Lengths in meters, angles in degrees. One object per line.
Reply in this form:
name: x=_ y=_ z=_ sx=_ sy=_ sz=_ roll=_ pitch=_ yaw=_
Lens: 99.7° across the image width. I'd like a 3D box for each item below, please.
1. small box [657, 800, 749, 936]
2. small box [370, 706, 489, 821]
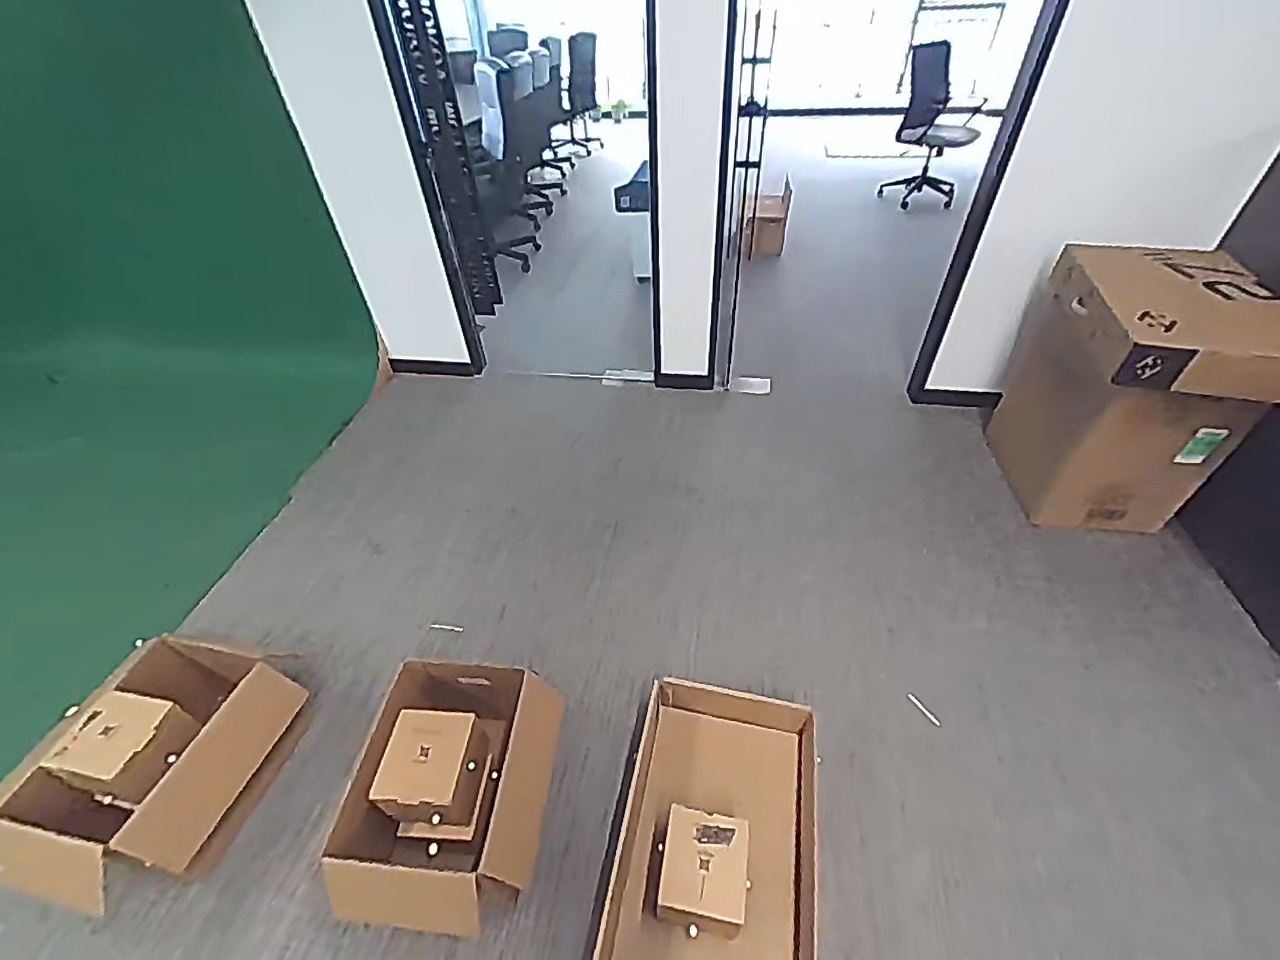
small box: x=0.128 y=0.801 z=1.117 sx=0.168 sy=0.176 sz=0.179 roll=7 pitch=43 yaw=9
small box: x=-0.435 y=0.607 z=1.154 sx=0.168 sy=0.176 sz=0.179 roll=2 pitch=45 yaw=4
